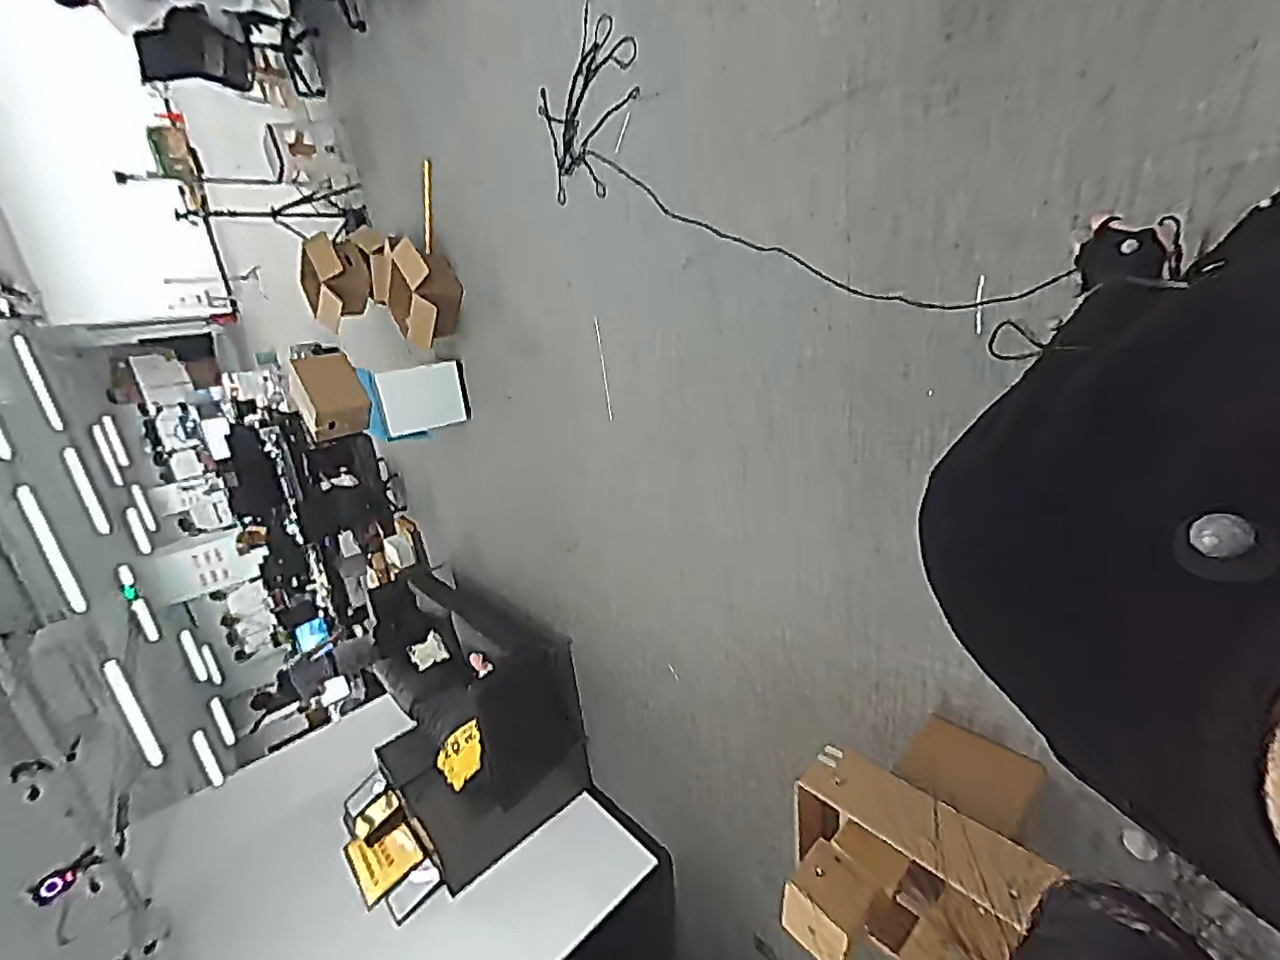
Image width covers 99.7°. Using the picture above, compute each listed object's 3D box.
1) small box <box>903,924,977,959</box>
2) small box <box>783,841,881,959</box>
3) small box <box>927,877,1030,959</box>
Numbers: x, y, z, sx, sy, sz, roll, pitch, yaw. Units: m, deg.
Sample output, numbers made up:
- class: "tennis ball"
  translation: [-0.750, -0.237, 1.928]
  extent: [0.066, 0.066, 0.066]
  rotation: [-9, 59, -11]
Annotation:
- class: "small box"
  translation: [0.656, 1.123, 1.159]
  extent: [0.168, 0.176, 0.179]
  rotation: [11, 114, 49]
- class: "small box"
  translation: [0.480, 1.062, 1.351]
  extent: [0.168, 0.176, 0.179]
  rotation: [22, 122, 45]
- class: "small box"
  translation: [0.785, 1.092, 1.257]
  extent: [0.168, 0.176, 0.179]
  rotation: [9, 113, 48]
